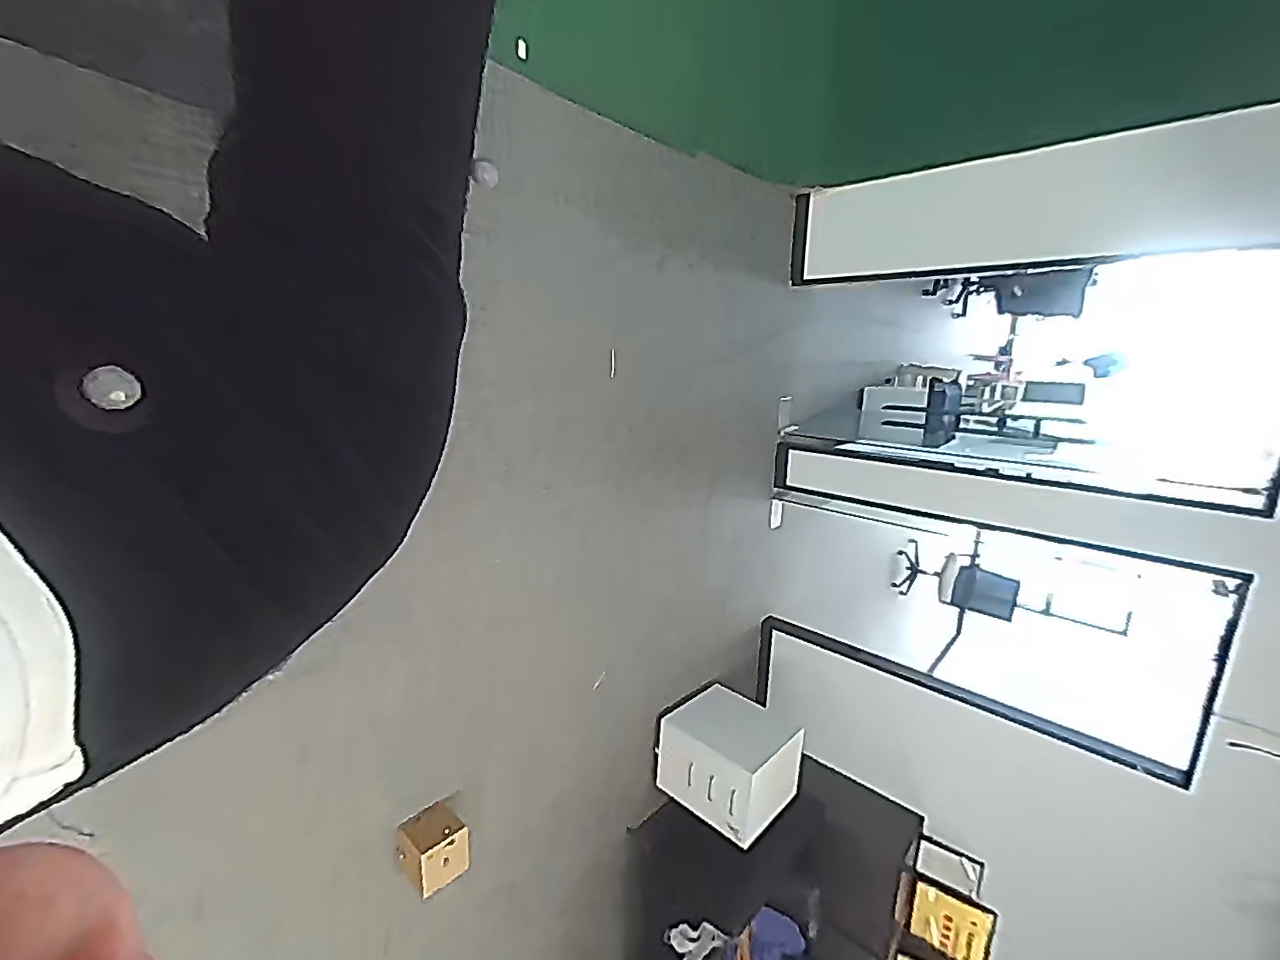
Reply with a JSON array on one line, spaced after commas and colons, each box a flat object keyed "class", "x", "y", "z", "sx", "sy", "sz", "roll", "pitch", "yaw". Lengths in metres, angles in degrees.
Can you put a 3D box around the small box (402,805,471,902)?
[{"class": "small box", "x": -0.690, "y": 1.257, "z": 1.835, "sx": 0.168, "sy": 0.176, "sz": 0.179, "roll": -10, "pitch": 107, "yaw": -48}]
